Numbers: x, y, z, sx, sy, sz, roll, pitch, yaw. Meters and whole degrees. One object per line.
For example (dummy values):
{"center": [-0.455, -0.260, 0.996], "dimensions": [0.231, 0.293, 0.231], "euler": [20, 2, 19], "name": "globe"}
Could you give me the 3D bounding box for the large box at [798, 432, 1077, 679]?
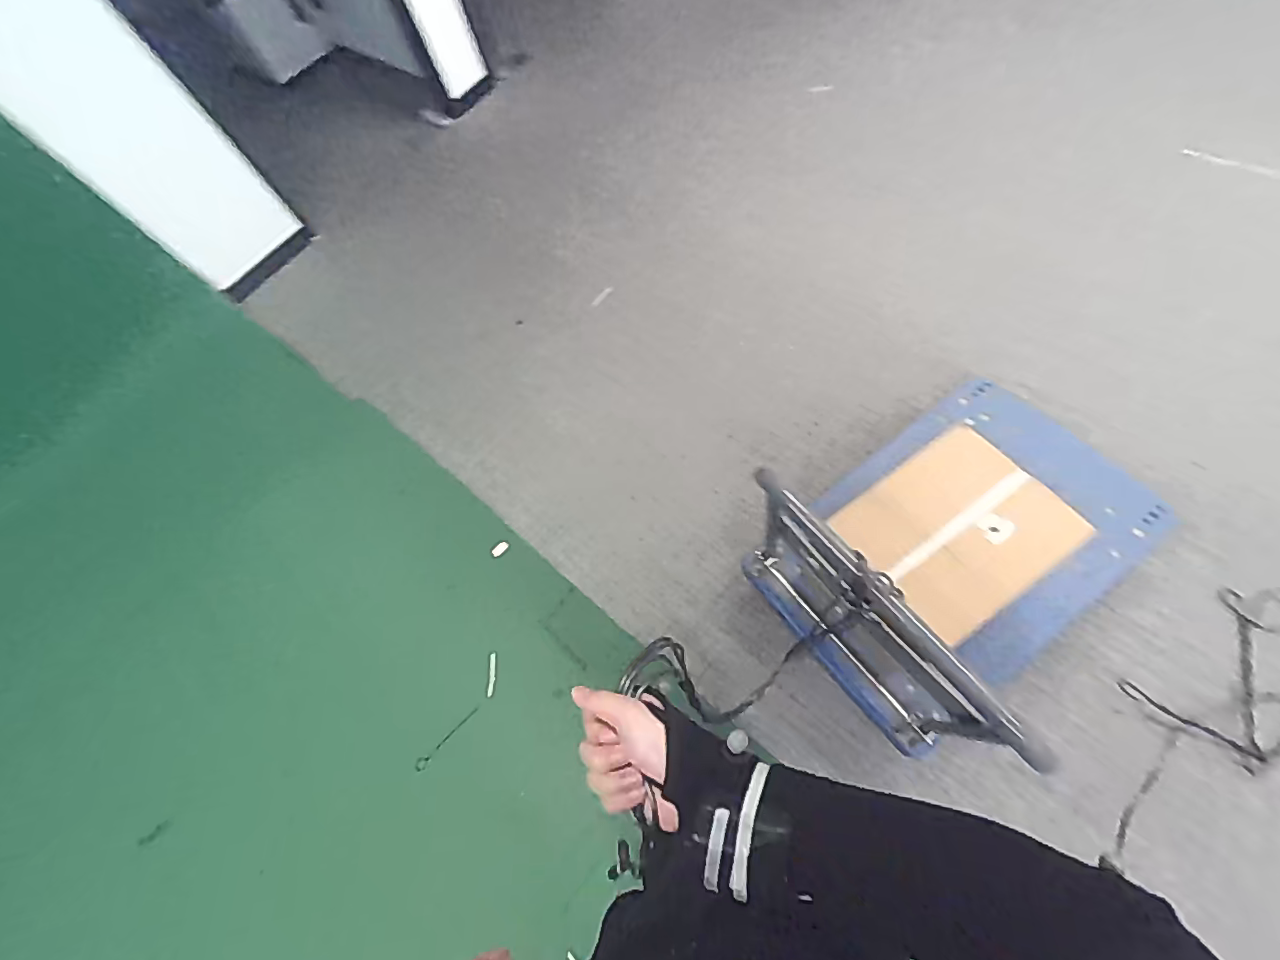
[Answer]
{"center": [0.616, 0.179, 1.201], "dimensions": [0.408, 0.320, 0.320], "euler": [-35, 64, -8], "name": "large box"}
